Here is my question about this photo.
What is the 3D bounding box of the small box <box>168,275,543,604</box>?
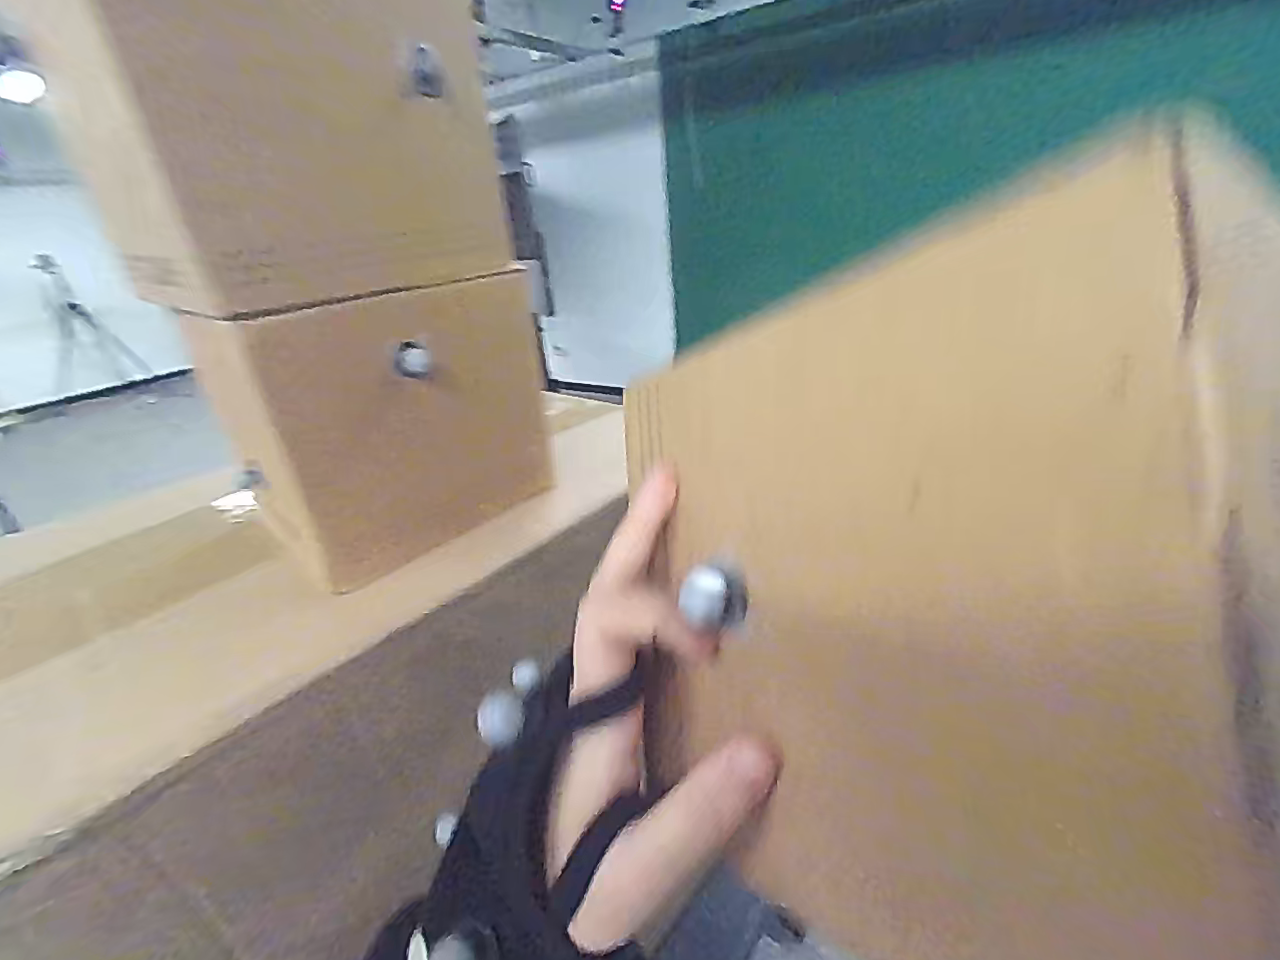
[{"bbox_3d":[-0.186,-0.045,0.393,0.168,0.176,0.179,20,37,38],"label":"small box"}]
